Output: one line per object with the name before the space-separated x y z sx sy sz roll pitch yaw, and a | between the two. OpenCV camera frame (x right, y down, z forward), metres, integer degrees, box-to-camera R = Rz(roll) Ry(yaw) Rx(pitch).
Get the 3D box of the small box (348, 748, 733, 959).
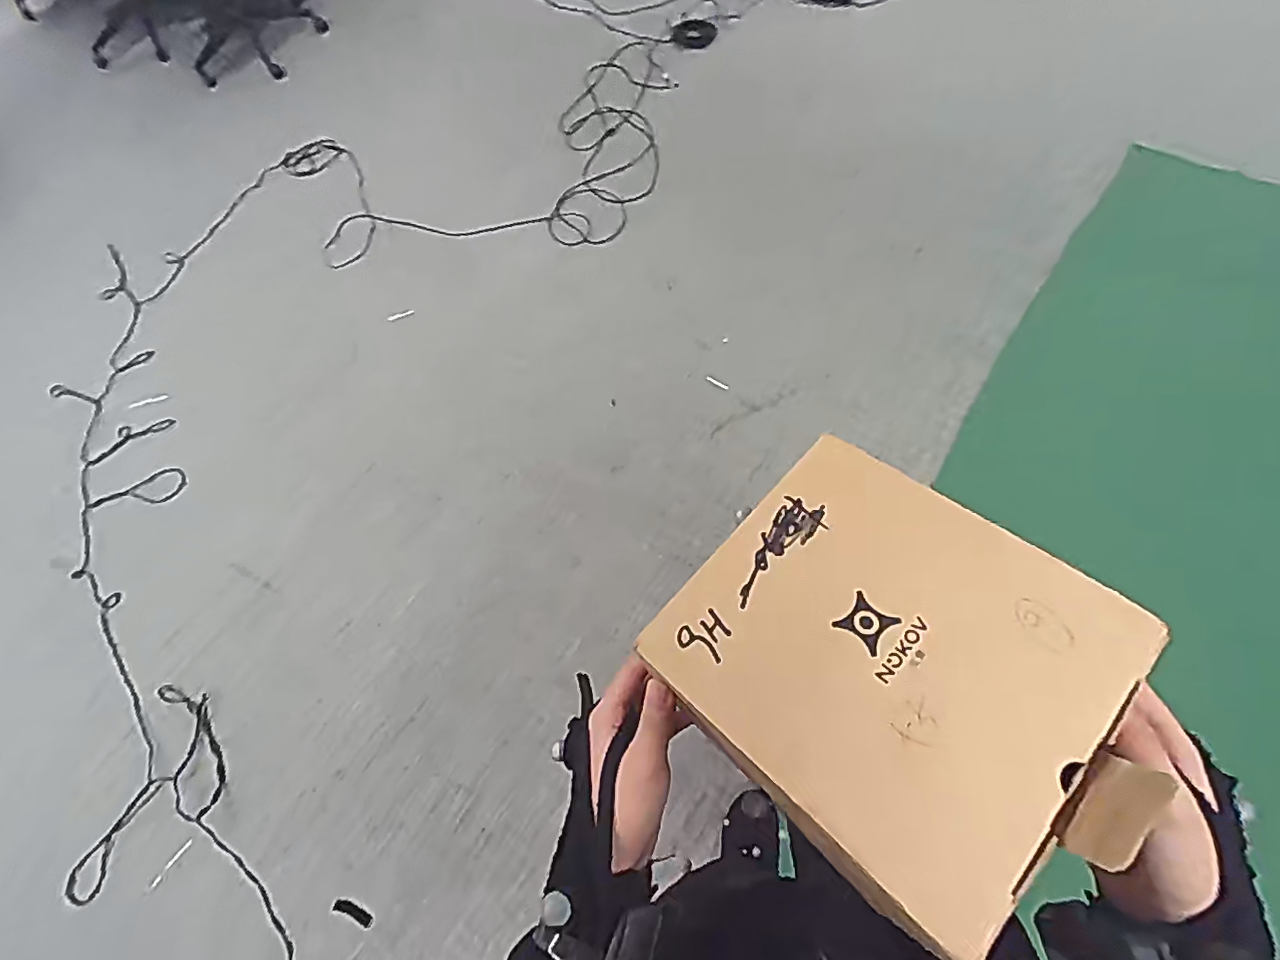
small box | -0.052 0.306 0.351 0.176 0.168 0.179 -21 78 14
